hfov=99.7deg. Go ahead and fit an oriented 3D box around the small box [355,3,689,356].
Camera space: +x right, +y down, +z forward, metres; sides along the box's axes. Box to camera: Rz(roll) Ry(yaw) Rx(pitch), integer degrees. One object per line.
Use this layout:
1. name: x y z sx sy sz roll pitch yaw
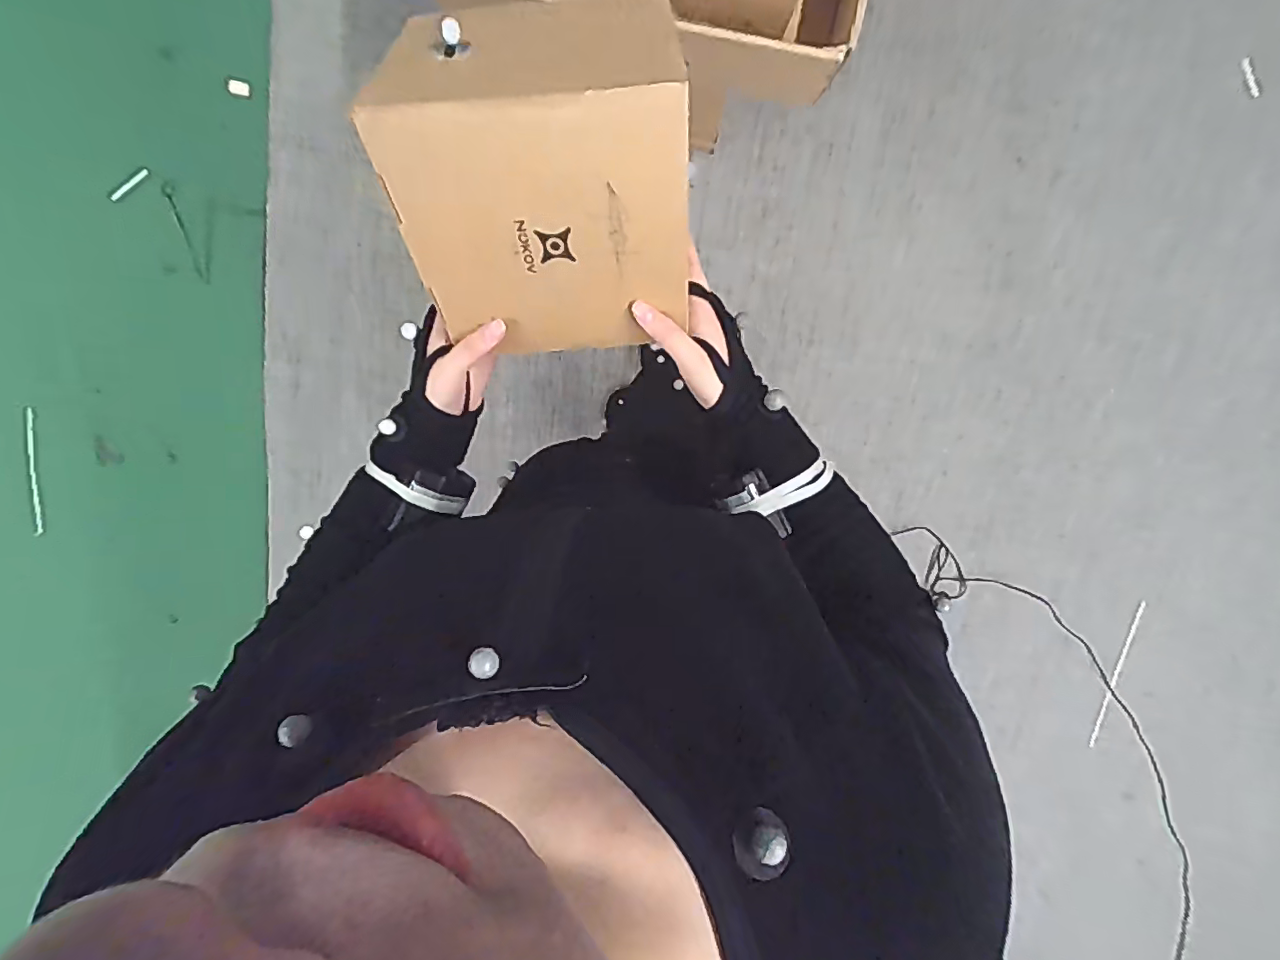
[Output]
1. small box: -0.060 -0.210 0.386 0.179 0.176 0.168 -3 144 1
